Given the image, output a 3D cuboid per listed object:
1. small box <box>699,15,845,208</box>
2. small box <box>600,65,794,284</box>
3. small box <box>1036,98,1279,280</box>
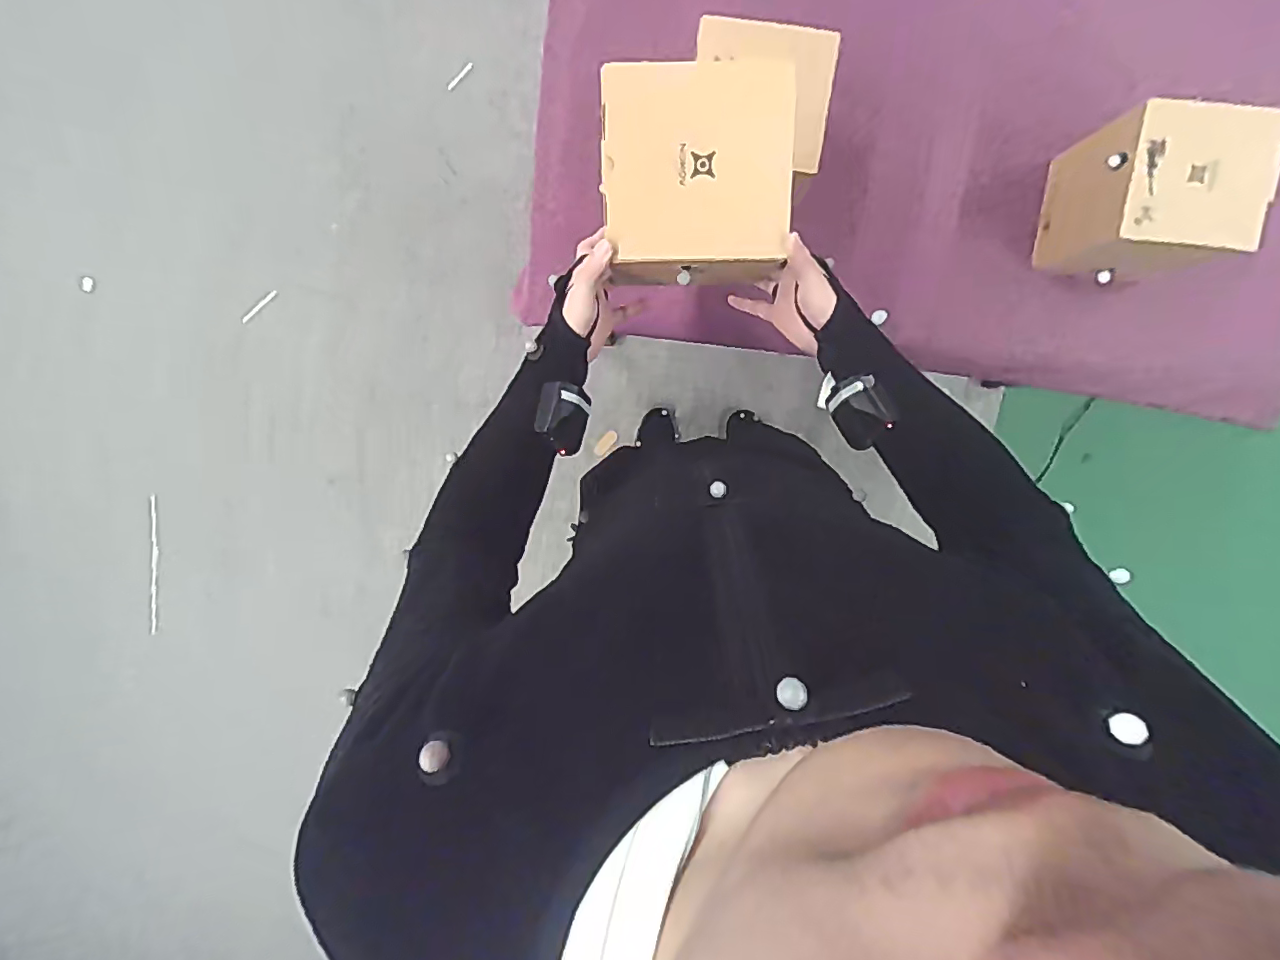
[{"bbox_3d":[0.158,-0.490,0.754,0.179,0.176,0.168,9,98,1],"label":"small box"},{"bbox_3d":[0.053,-0.307,0.577,0.179,0.176,0.168,0,103,3],"label":"small box"},{"bbox_3d":[0.702,-0.383,0.744,0.179,0.176,0.168,7,98,2],"label":"small box"}]
